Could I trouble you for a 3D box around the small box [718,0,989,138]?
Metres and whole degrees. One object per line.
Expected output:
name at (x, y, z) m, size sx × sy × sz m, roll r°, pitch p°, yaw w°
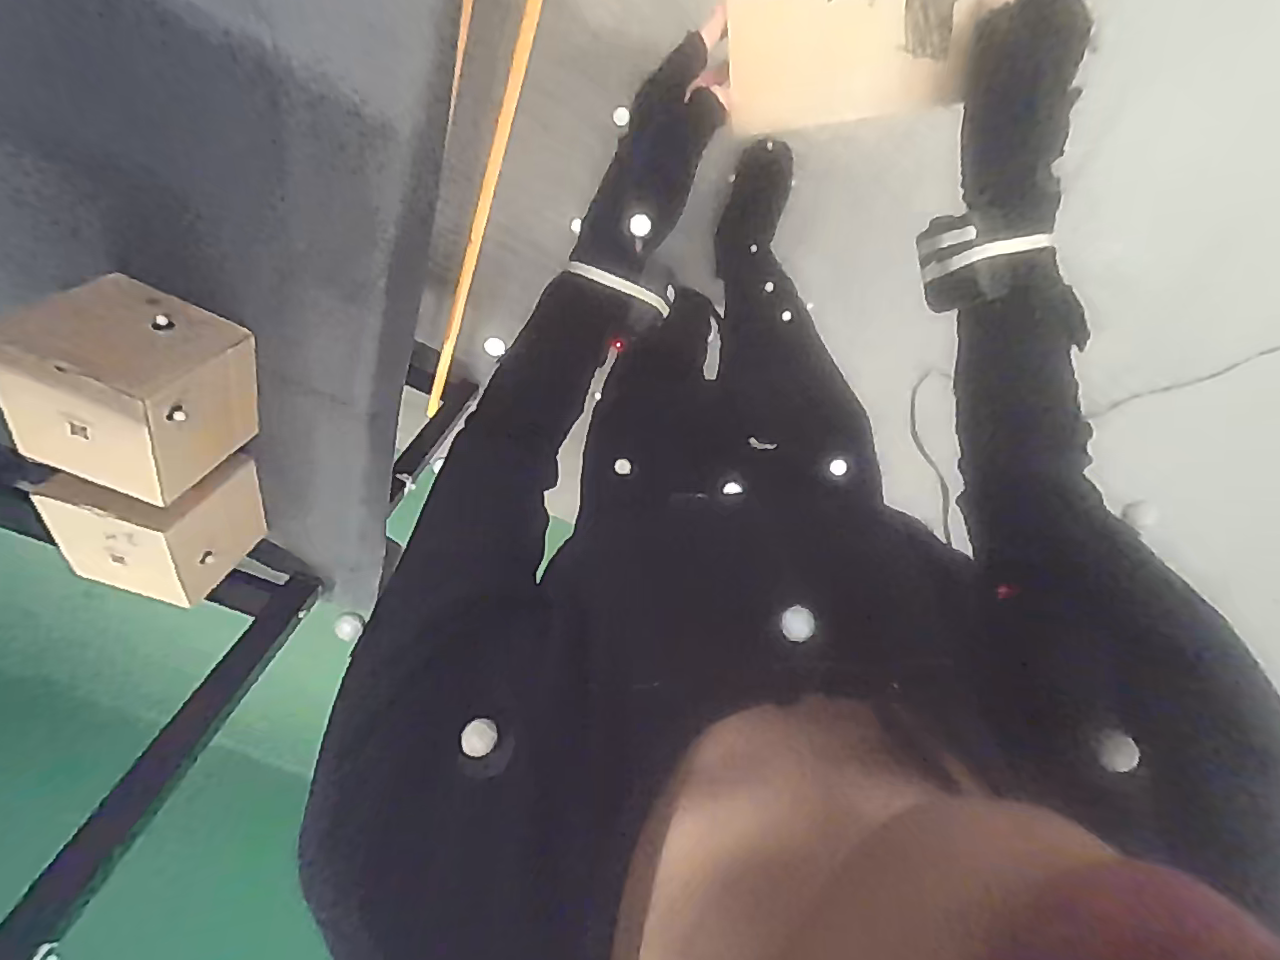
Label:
small box at (0.149, -0.384, 0.404) m, size 0.179 × 0.176 × 0.168 m, roll 0°, pitch 137°, yaw 13°
